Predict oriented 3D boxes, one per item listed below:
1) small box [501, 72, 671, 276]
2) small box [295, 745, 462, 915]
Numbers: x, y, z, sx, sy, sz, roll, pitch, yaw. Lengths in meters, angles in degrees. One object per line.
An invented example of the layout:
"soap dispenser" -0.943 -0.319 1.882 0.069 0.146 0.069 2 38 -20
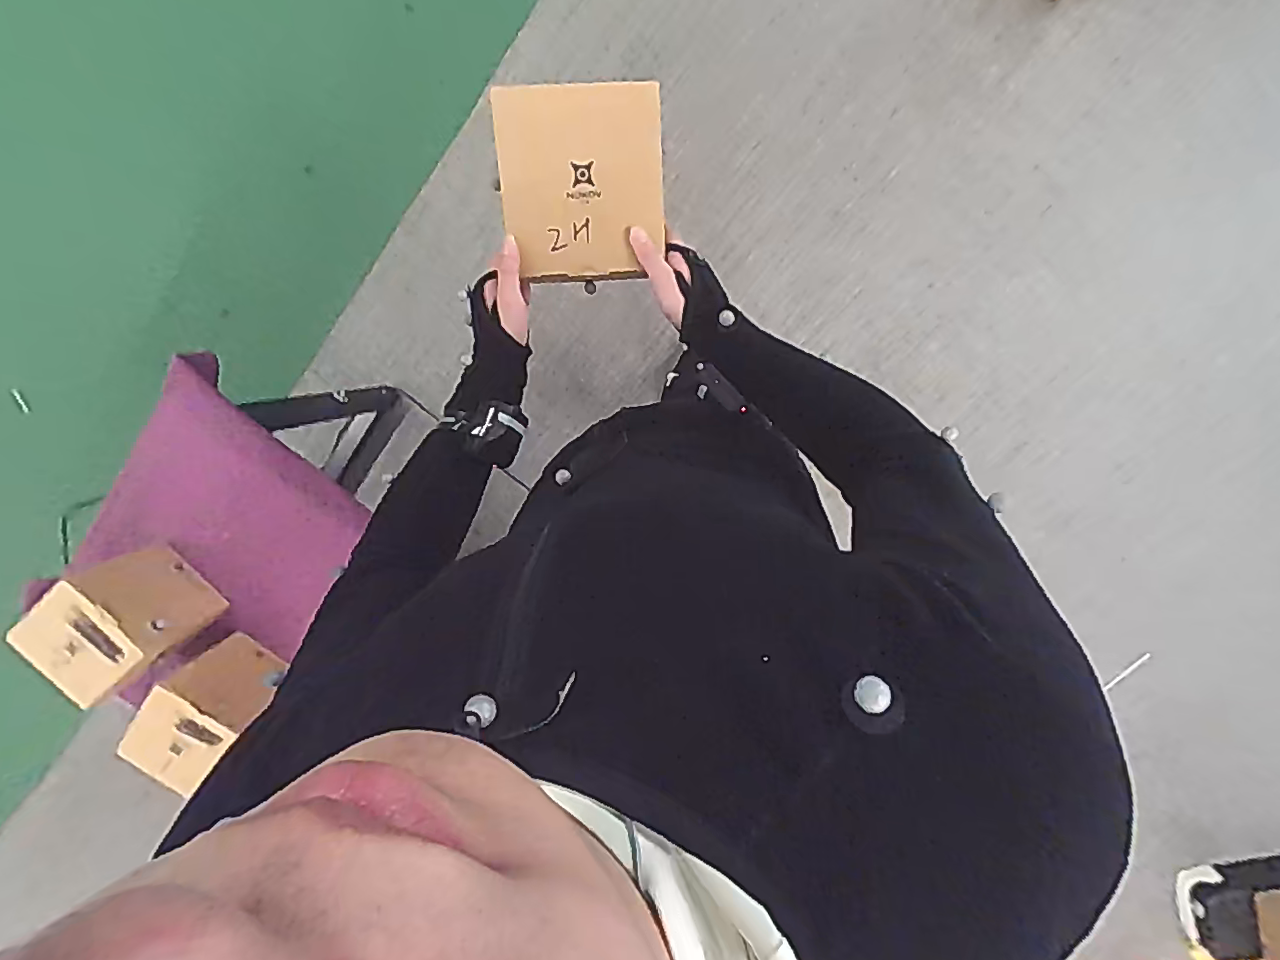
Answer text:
"small box" -0.056 -0.331 0.618 0.168 0.176 0.179 -3 109 -3
"small box" -0.467 0.624 0.991 0.168 0.176 0.179 -42 97 12
